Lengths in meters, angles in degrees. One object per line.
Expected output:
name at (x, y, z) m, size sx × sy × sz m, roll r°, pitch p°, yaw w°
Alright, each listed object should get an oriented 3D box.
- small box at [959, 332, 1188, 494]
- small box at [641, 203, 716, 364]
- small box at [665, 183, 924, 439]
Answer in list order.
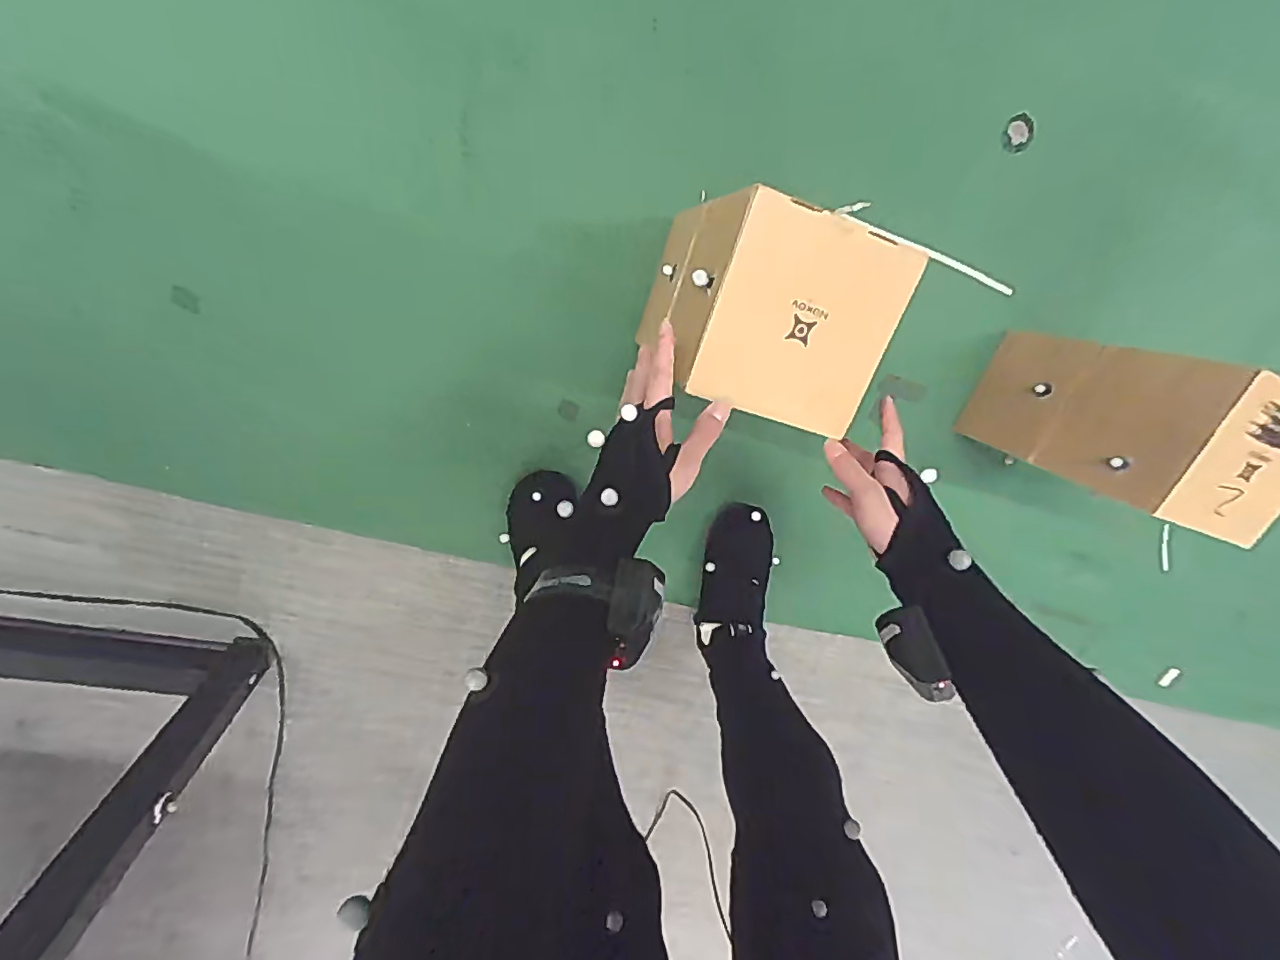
small box at (0.629, -0.108, 0.811) m, size 0.168 × 0.176 × 0.179 m, roll 17°, pitch 109°, yaw -14°
small box at (0.108, -0.227, 0.688) m, size 0.168 × 0.176 × 0.179 m, roll 15°, pitch 111°, yaw -13°
small box at (0.131, -0.165, 0.541) m, size 0.168 × 0.176 × 0.179 m, roll 15°, pitch 108°, yaw -13°
